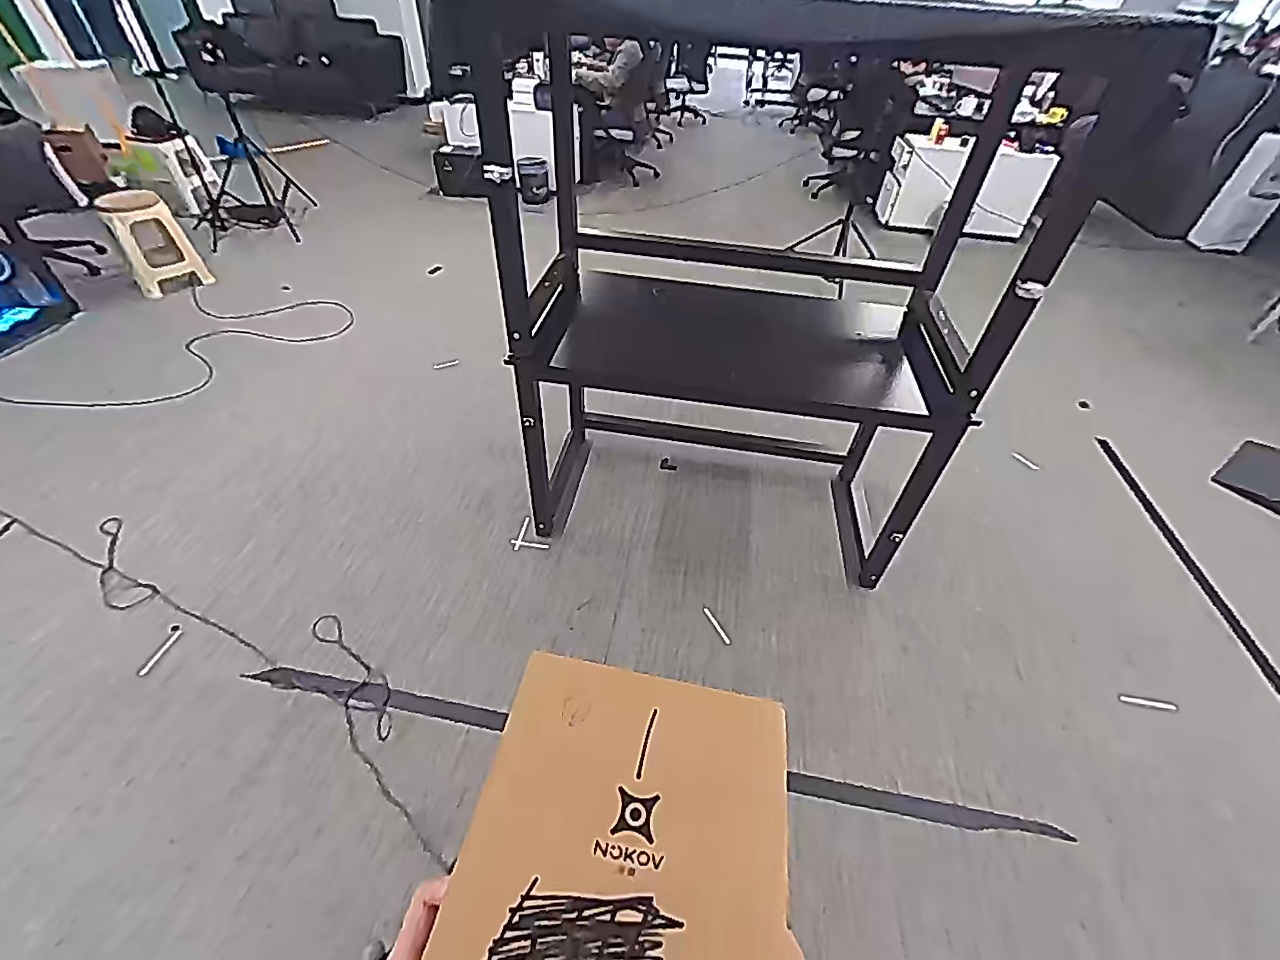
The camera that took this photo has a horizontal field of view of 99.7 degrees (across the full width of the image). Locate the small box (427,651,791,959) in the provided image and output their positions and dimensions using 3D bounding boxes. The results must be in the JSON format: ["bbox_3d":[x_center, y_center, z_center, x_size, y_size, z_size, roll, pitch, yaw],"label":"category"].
[{"bbox_3d":[-0.008,0.241,0.338,0.168,0.176,0.179,11,44,5],"label":"small box"}]
